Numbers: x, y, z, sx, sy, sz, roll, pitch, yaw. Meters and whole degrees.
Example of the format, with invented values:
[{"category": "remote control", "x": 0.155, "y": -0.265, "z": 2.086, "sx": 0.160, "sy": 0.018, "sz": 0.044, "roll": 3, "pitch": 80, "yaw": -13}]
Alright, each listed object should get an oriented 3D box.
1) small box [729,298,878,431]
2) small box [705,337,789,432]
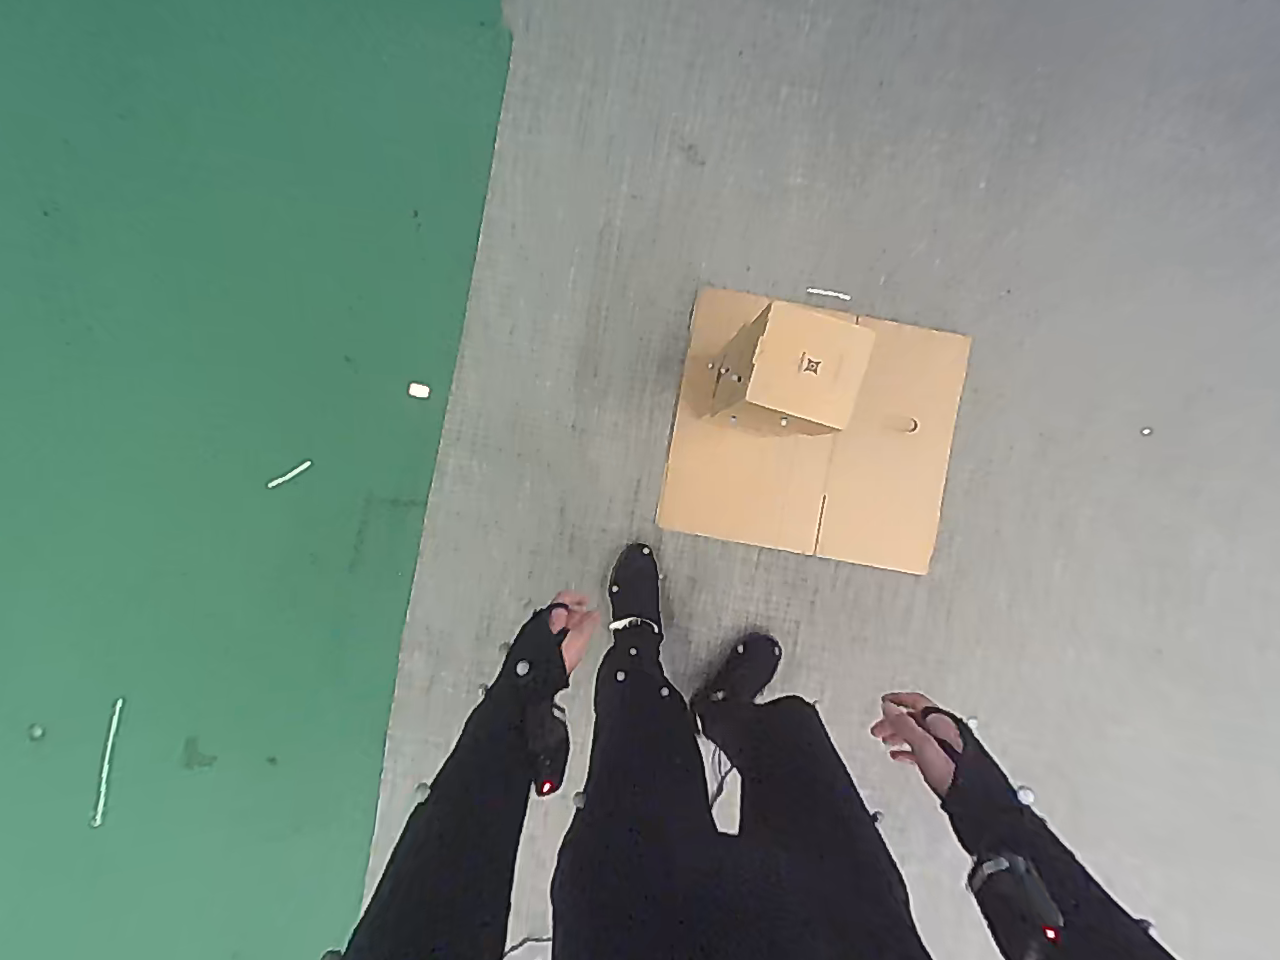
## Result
[{"category": "small box", "x": 0.265, "y": -0.185, "z": 0.923, "sx": 0.179, "sy": 0.176, "sz": 0.168, "roll": 16, "pitch": 92, "yaw": -2}, {"category": "small box", "x": 0.258, "y": -0.212, "z": 1.250, "sx": 0.179, "sy": 0.176, "sz": 0.168, "roll": 14, "pitch": 91, "yaw": -2}]
